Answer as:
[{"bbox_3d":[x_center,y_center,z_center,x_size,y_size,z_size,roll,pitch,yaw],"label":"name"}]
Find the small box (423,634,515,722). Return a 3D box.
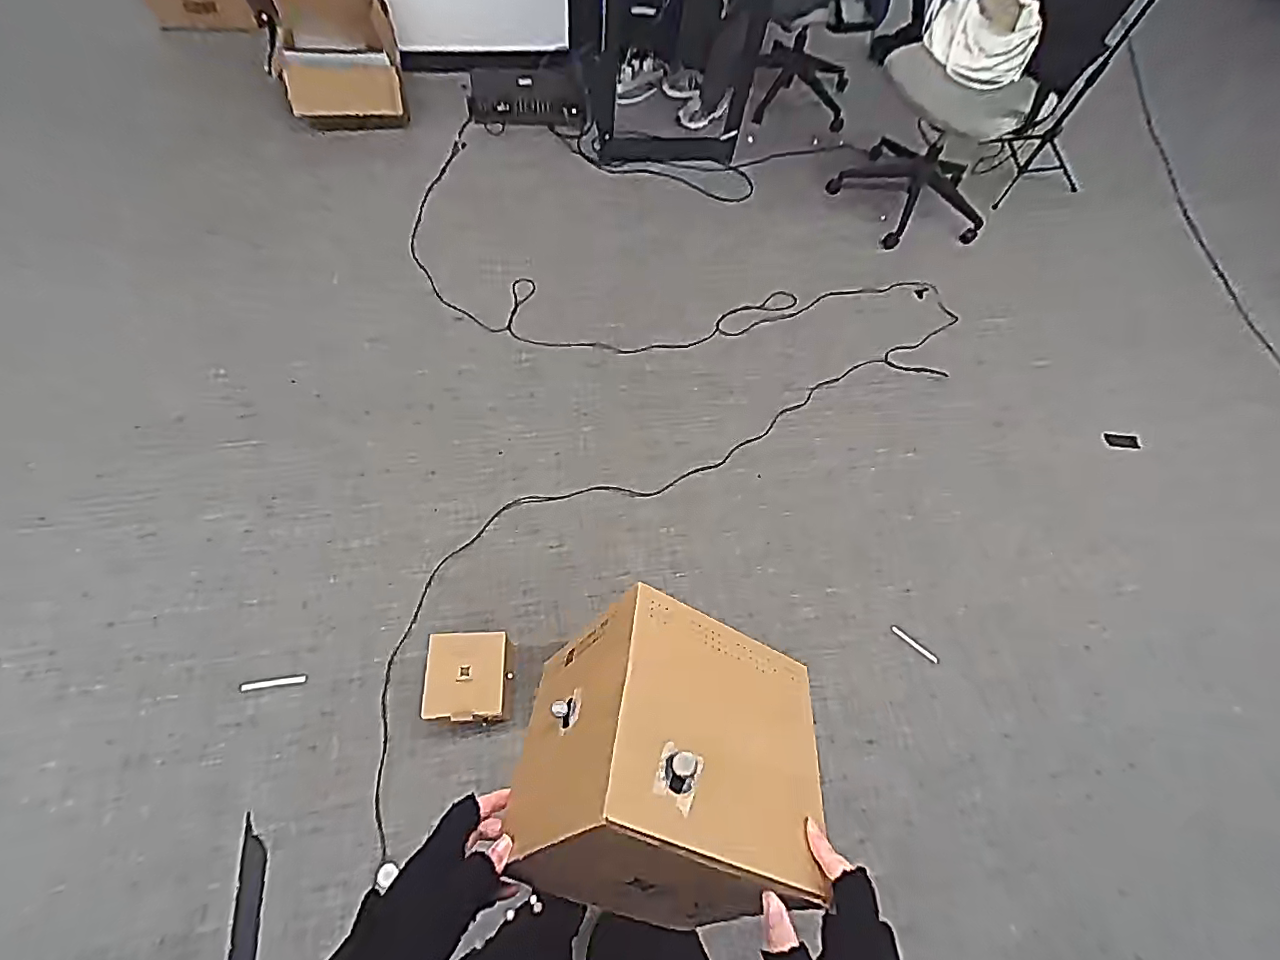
[{"bbox_3d":[-0.381,0.456,1.236,0.168,0.176,0.179,0,63,-7],"label":"small box"}]

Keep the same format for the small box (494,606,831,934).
[{"bbox_3d":[0.018,0.223,0.427,0.179,0.168,0.176,30,39,-16],"label":"small box"}]
